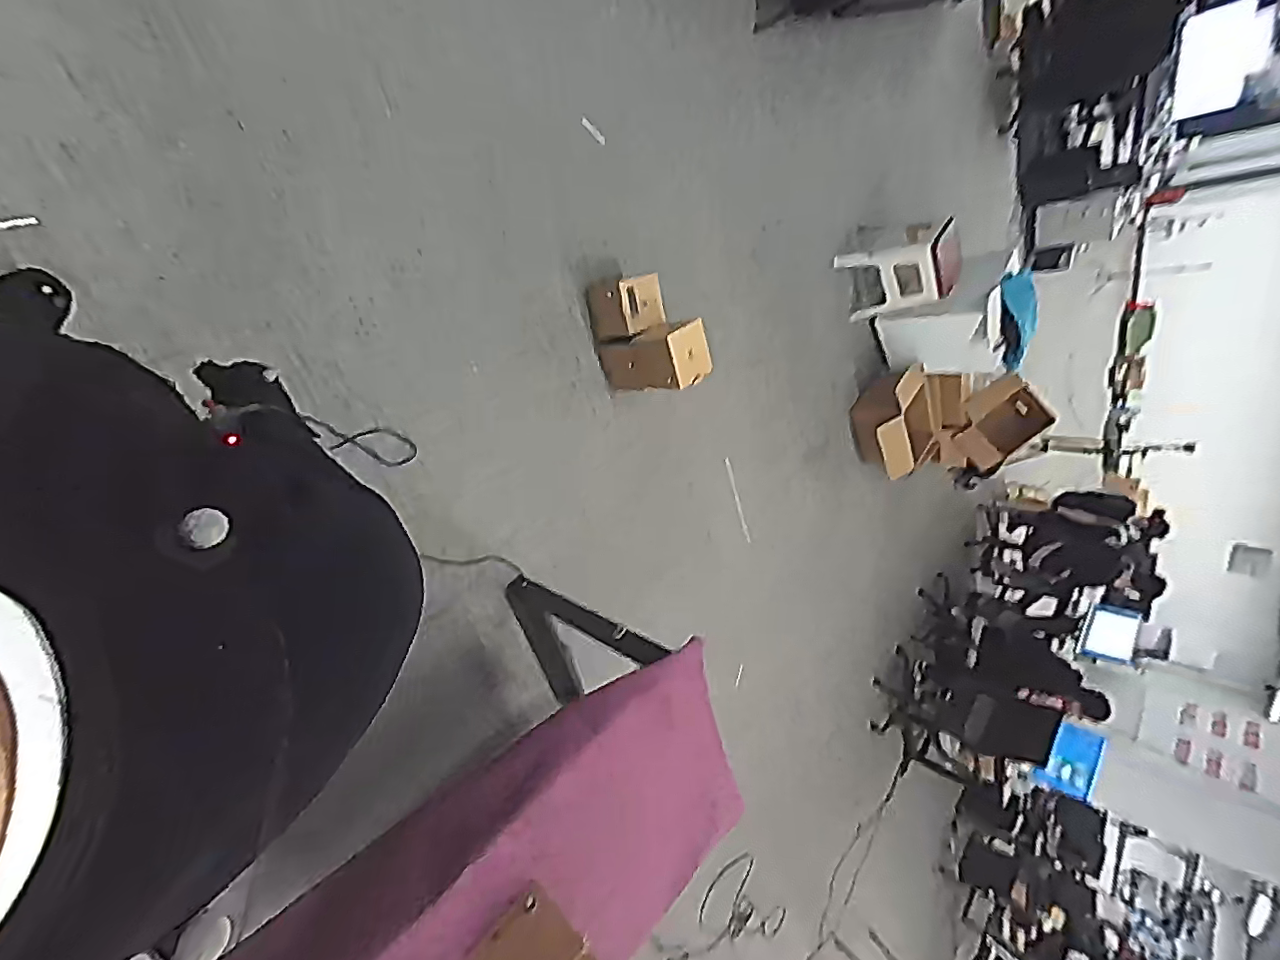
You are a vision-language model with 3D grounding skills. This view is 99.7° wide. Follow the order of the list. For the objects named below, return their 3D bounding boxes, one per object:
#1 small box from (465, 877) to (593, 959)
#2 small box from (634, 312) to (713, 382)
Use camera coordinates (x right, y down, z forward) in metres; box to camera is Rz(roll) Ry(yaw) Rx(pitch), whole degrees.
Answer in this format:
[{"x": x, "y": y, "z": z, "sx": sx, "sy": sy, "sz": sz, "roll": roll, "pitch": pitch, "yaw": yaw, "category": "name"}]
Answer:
[{"x": -0.182, "y": 0.859, "z": 0.959, "sx": 0.168, "sy": 0.176, "sz": 0.179, "roll": -33, "pitch": 120, "yaw": -33, "category": "small box"}, {"x": 0.106, "y": -0.425, "z": 1.741, "sx": 0.168, "sy": 0.176, "sz": 0.179, "roll": -37, "pitch": 122, "yaw": -32, "category": "small box"}]
